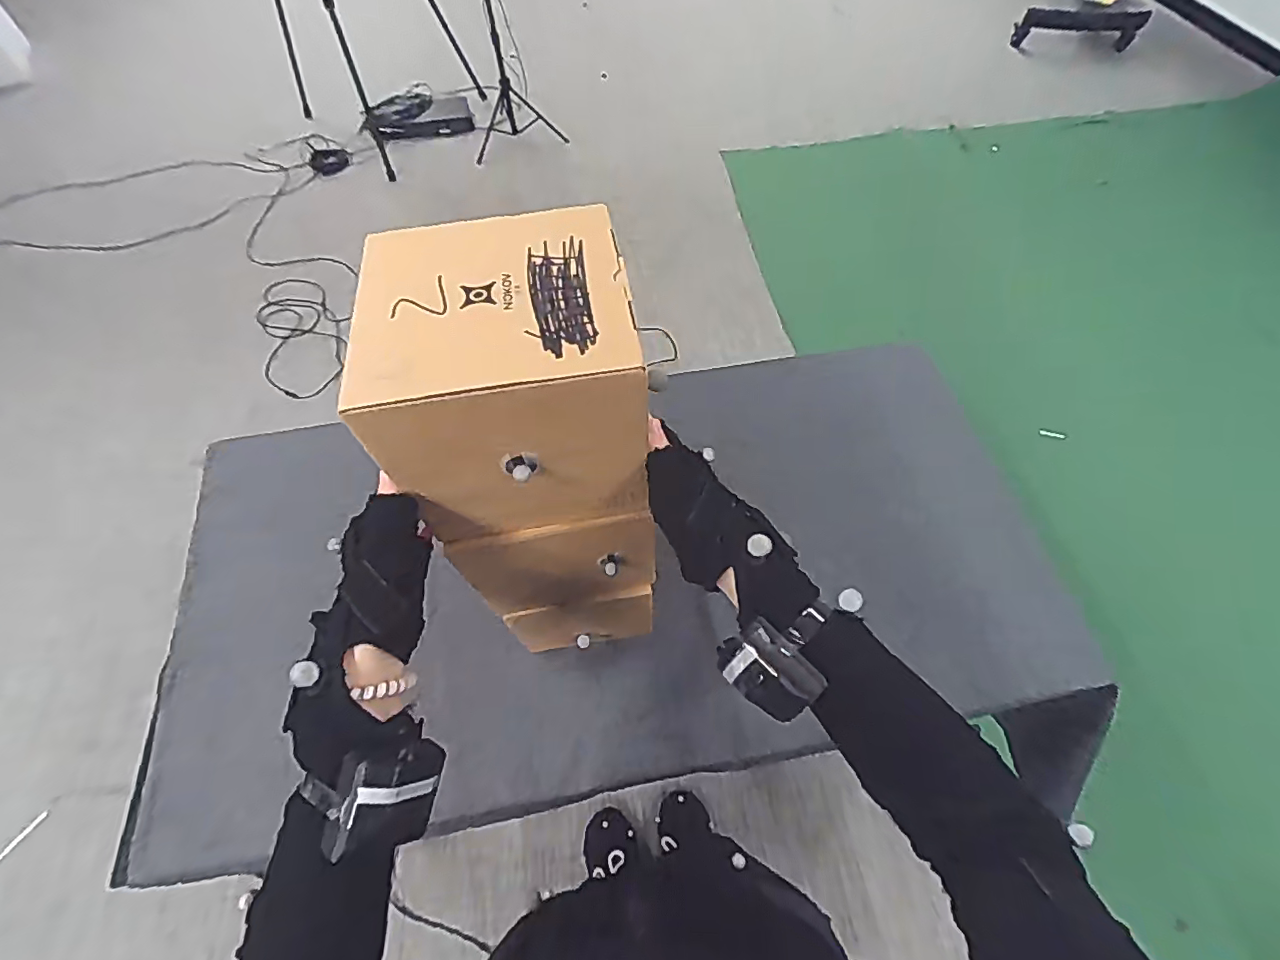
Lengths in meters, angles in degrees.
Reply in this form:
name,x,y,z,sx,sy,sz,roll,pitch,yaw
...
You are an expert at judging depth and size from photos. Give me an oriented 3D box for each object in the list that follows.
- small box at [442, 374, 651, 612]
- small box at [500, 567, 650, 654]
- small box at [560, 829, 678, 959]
name,x,y,z,sx,sy,sz,roll,pitch,yaw
small box,-0.089,0.019,0.554,0.179,0.176,0.168,-10,58,-5
small box,-0.082,0.106,0.693,0.168,0.176,0.179,-8,60,-4
small box,-0.044,0.852,1.114,0.179,0.176,0.168,10,70,26
